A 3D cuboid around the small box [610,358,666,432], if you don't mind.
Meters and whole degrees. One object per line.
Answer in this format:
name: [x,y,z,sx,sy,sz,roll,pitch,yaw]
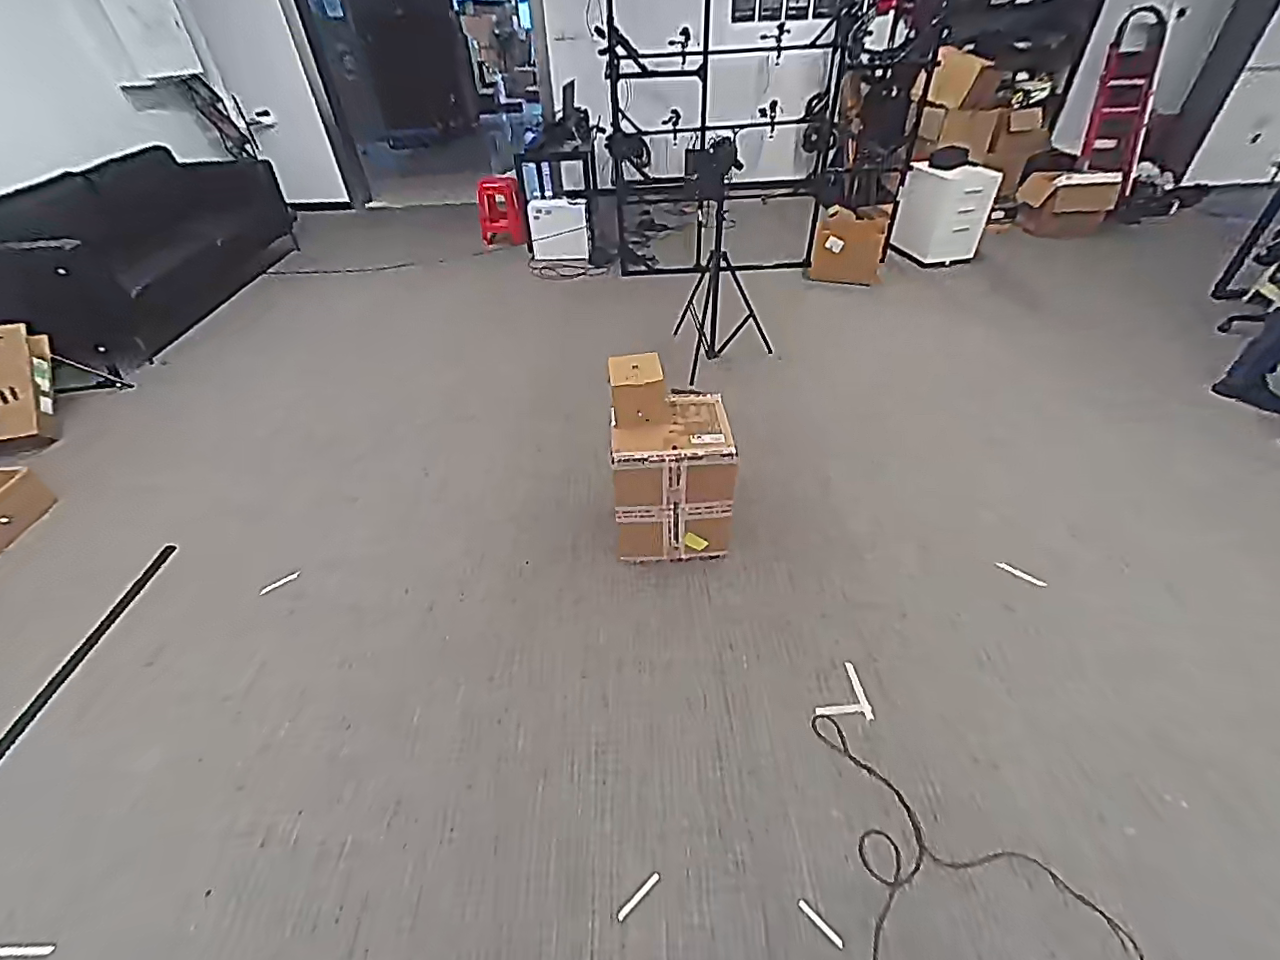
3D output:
small box: [-0.008,-0.278,1.771,0.168,0.176,0.179,-7,43,-1]
